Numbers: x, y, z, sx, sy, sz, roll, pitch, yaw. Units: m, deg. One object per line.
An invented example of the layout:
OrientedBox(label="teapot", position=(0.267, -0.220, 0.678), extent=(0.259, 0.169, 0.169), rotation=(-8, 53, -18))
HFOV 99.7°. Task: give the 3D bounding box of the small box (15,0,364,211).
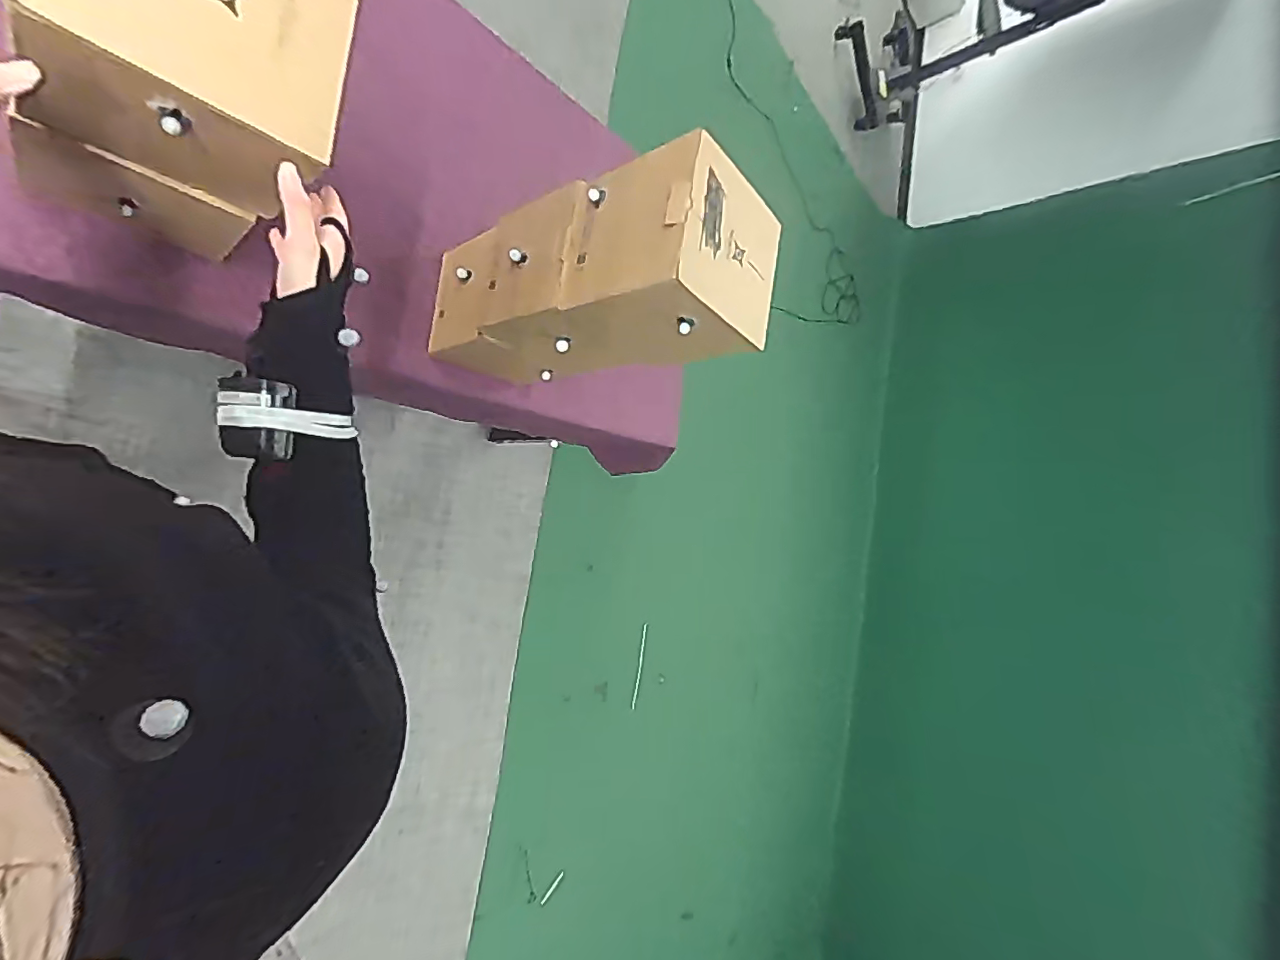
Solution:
OrientedBox(label="small box", position=(-0.354, -0.348, 0.433), extent=(0.179, 0.176, 0.168), rotation=(12, 85, -47))

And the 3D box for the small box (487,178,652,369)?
OrientedBox(label="small box", position=(-0.082, -0.259, 0.734), extent=(0.179, 0.176, 0.168), rotation=(18, 80, -46))

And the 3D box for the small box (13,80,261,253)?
OrientedBox(label="small box", position=(-0.477, -0.356, 0.540), extent=(0.168, 0.176, 0.179), rotation=(15, 82, -47))

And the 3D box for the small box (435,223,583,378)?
OrientedBox(label="small box", position=(-0.197, -0.264, 0.850), extent=(0.179, 0.176, 0.168), rotation=(12, 83, -48))

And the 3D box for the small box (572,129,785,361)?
OrientedBox(label="small box", position=(0.045, -0.249, 0.629), extent=(0.179, 0.176, 0.168), rotation=(18, 79, -48))
